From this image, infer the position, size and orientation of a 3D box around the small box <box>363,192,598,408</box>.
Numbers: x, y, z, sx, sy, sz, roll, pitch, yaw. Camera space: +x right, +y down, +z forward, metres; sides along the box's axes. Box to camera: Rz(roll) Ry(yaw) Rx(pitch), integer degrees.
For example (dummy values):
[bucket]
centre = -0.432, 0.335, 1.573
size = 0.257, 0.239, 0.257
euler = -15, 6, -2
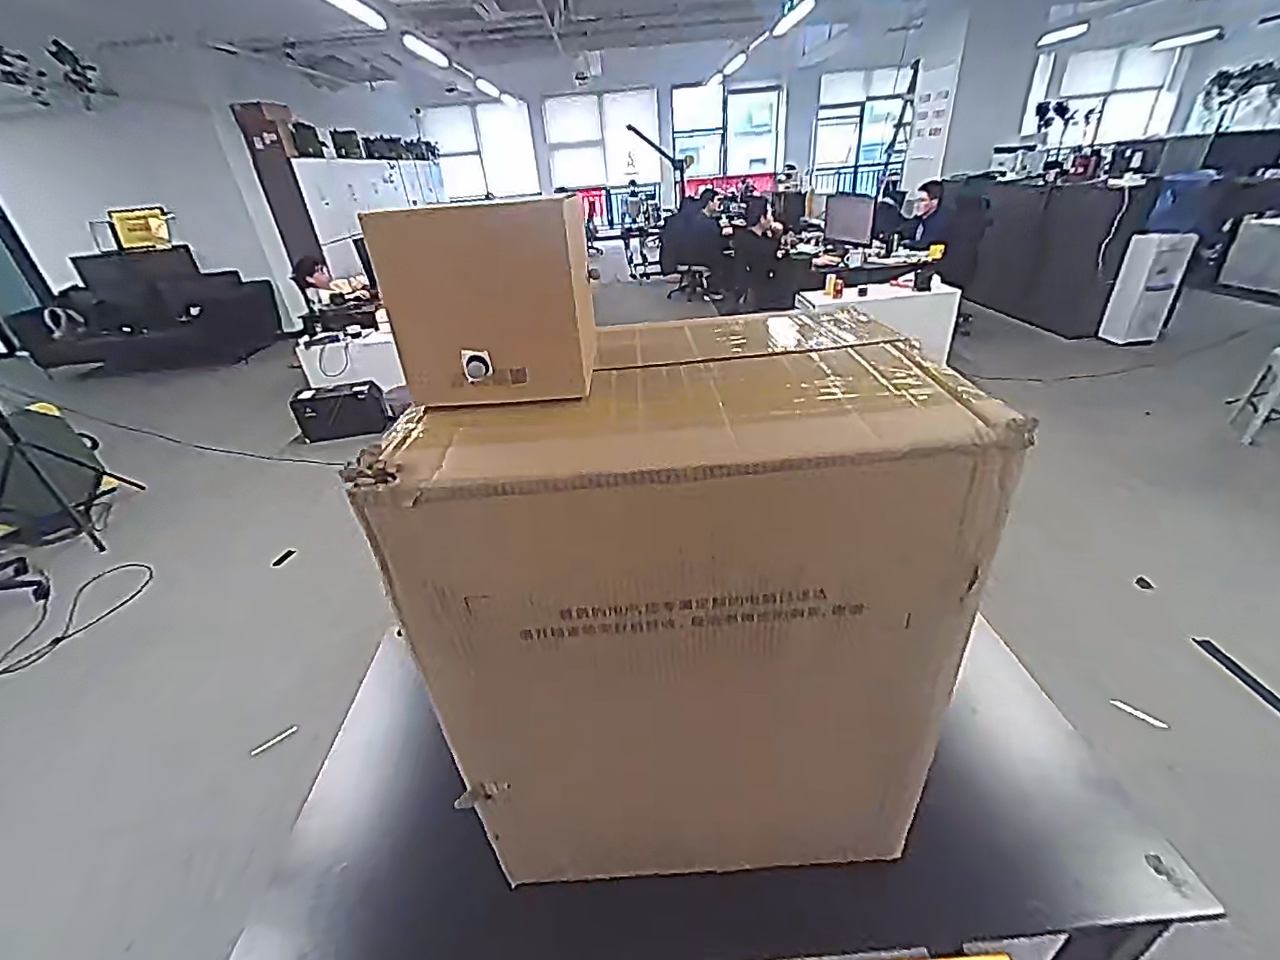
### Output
[small box]
centre = -0.134, -0.182, 0.534
size = 0.168, 0.176, 0.179
euler = -5, 30, 1
